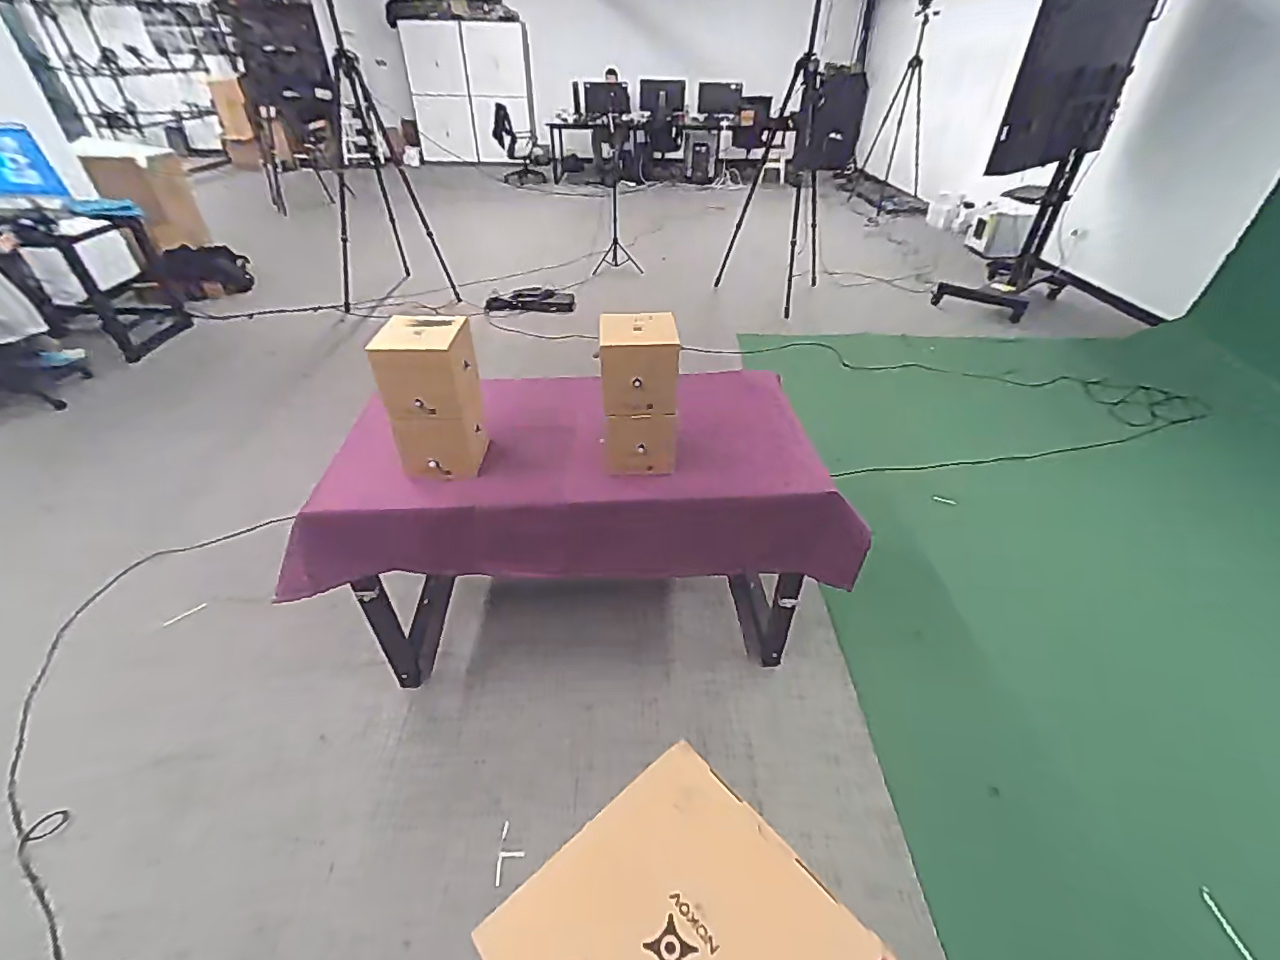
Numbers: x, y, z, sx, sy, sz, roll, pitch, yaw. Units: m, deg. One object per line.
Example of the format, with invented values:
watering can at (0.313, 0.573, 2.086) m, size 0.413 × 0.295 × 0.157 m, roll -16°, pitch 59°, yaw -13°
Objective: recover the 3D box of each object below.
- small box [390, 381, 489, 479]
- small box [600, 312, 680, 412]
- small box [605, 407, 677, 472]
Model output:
small box at (-0.465, -0.121, 1.289) m, size 0.168 × 0.176 × 0.179 m, roll 0°, pitch 39°, yaw -1°
small box at (-0.002, -0.261, 1.208) m, size 0.168 × 0.176 × 0.179 m, roll -1°, pitch 38°, yaw -3°
small box at (0.001, -0.131, 1.310) m, size 0.168 × 0.176 × 0.179 m, roll -1°, pitch 39°, yaw -3°
